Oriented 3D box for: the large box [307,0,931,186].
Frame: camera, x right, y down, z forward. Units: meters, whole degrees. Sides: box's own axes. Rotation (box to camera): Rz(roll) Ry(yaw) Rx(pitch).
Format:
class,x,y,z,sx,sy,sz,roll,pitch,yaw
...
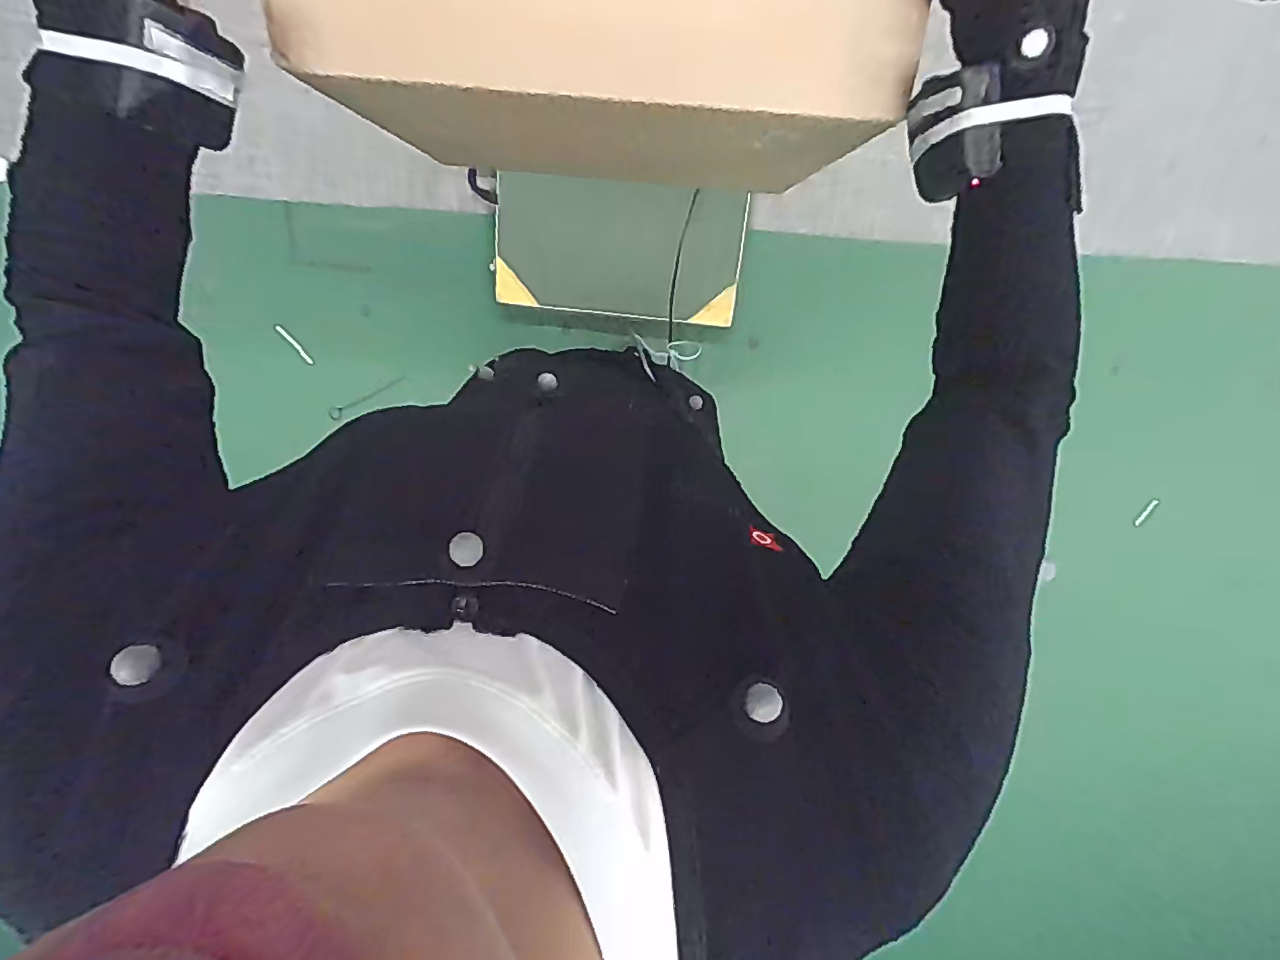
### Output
class,x,y,z,sx,sy,sz,roll,pitch,yaw
large box,-0.010,-0.450,0.447,0.408,0.320,0.320,3,111,-3
